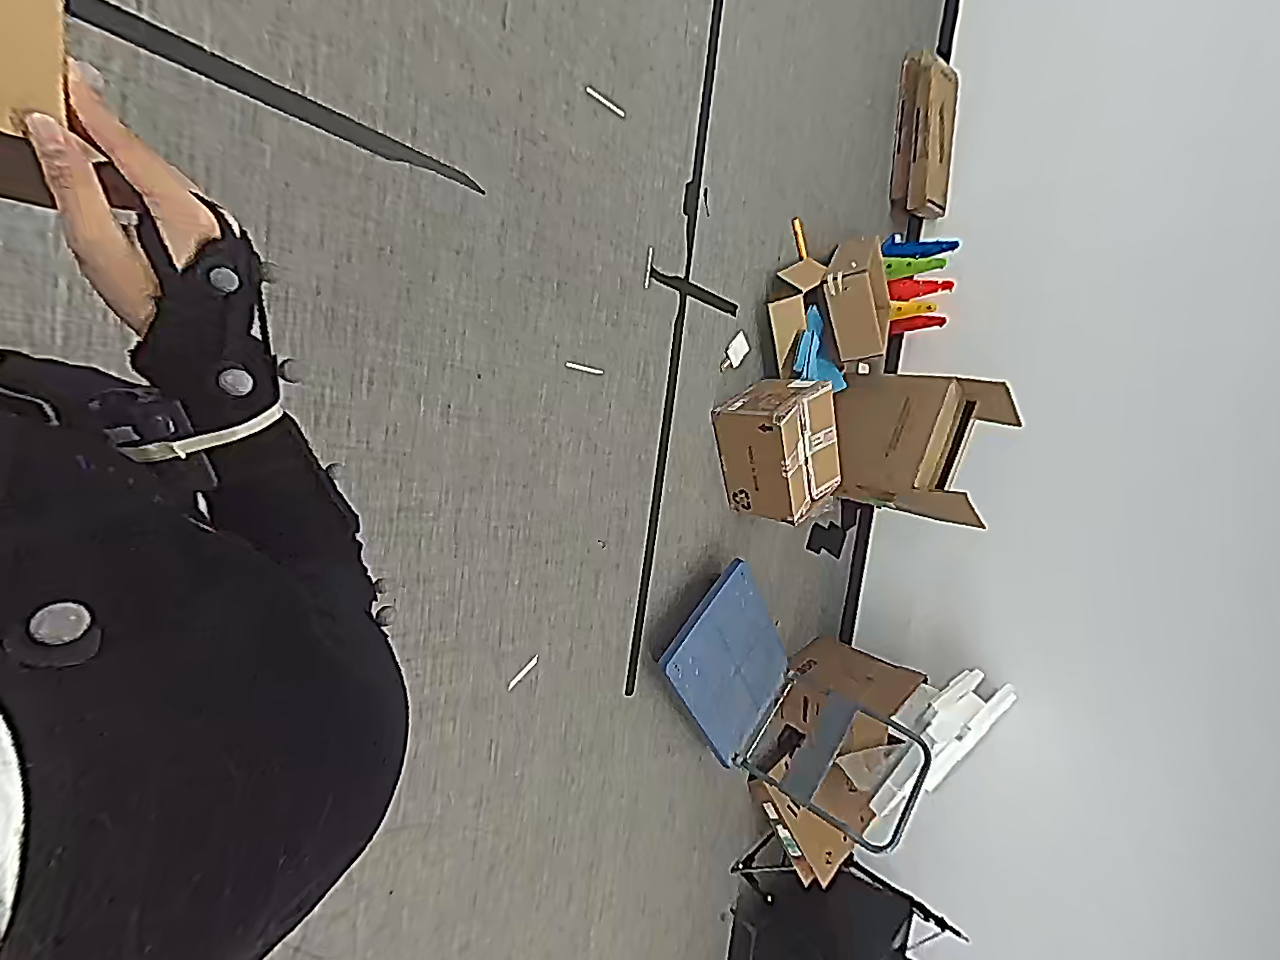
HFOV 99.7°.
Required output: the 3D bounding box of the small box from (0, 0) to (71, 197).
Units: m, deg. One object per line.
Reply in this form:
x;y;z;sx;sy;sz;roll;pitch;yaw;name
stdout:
-0.383;-0.248;0.240;0.179;0.176;0.168;-3;101;-48;small box
